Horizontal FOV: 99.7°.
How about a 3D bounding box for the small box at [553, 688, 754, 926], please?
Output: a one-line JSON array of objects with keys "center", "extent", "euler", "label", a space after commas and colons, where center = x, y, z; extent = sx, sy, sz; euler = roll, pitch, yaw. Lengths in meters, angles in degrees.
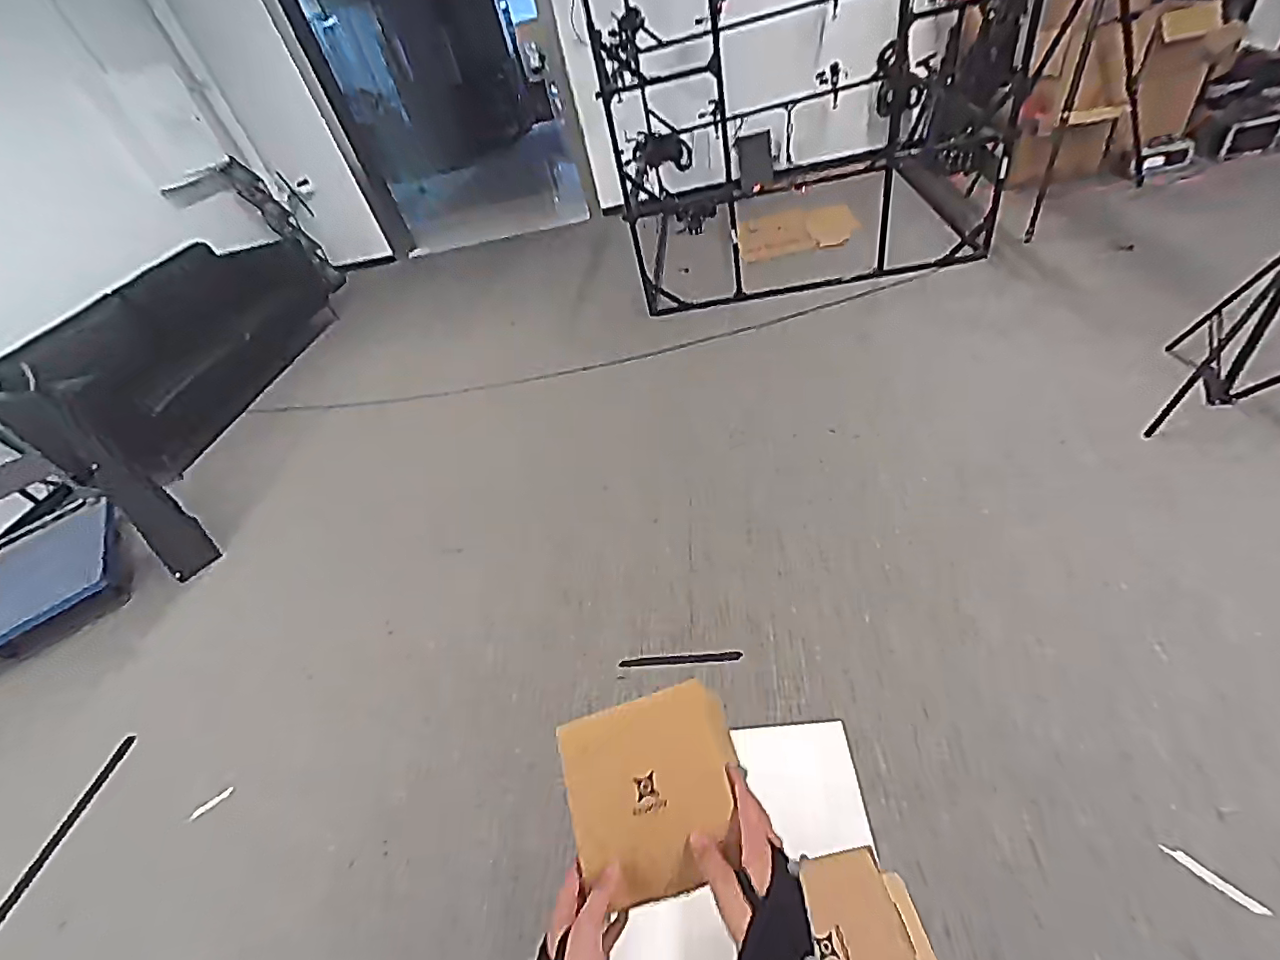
[{"center": [0.020, 0.354, 0.607], "extent": [0.168, 0.176, 0.179], "euler": [-20, 61, 5], "label": "small box"}]
